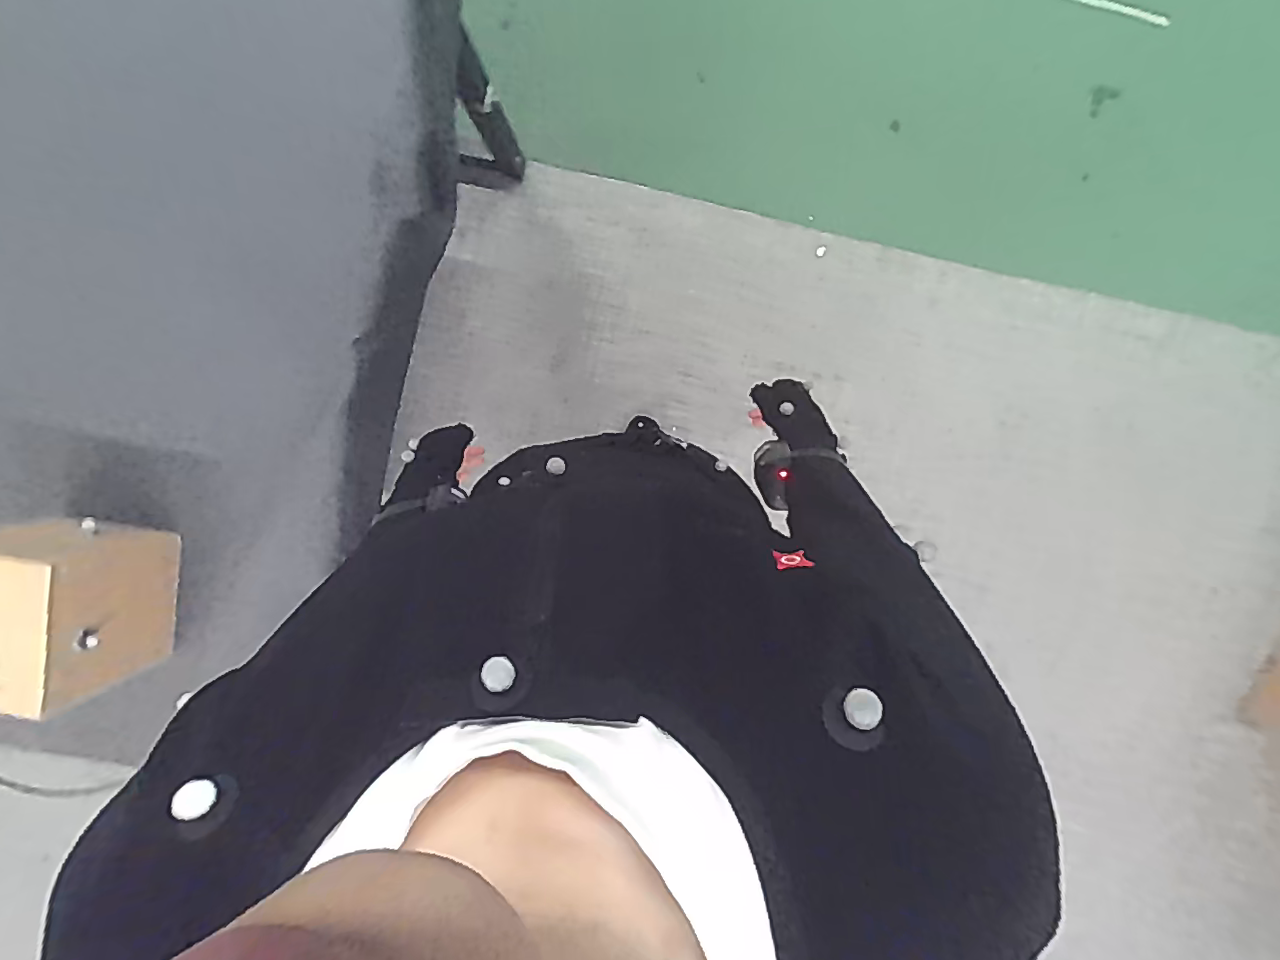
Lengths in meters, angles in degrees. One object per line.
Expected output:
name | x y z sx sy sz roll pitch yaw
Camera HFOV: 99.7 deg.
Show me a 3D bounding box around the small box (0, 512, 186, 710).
small box | -0.708 0.147 0.664 0.168 0.176 0.179 9 95 -1
